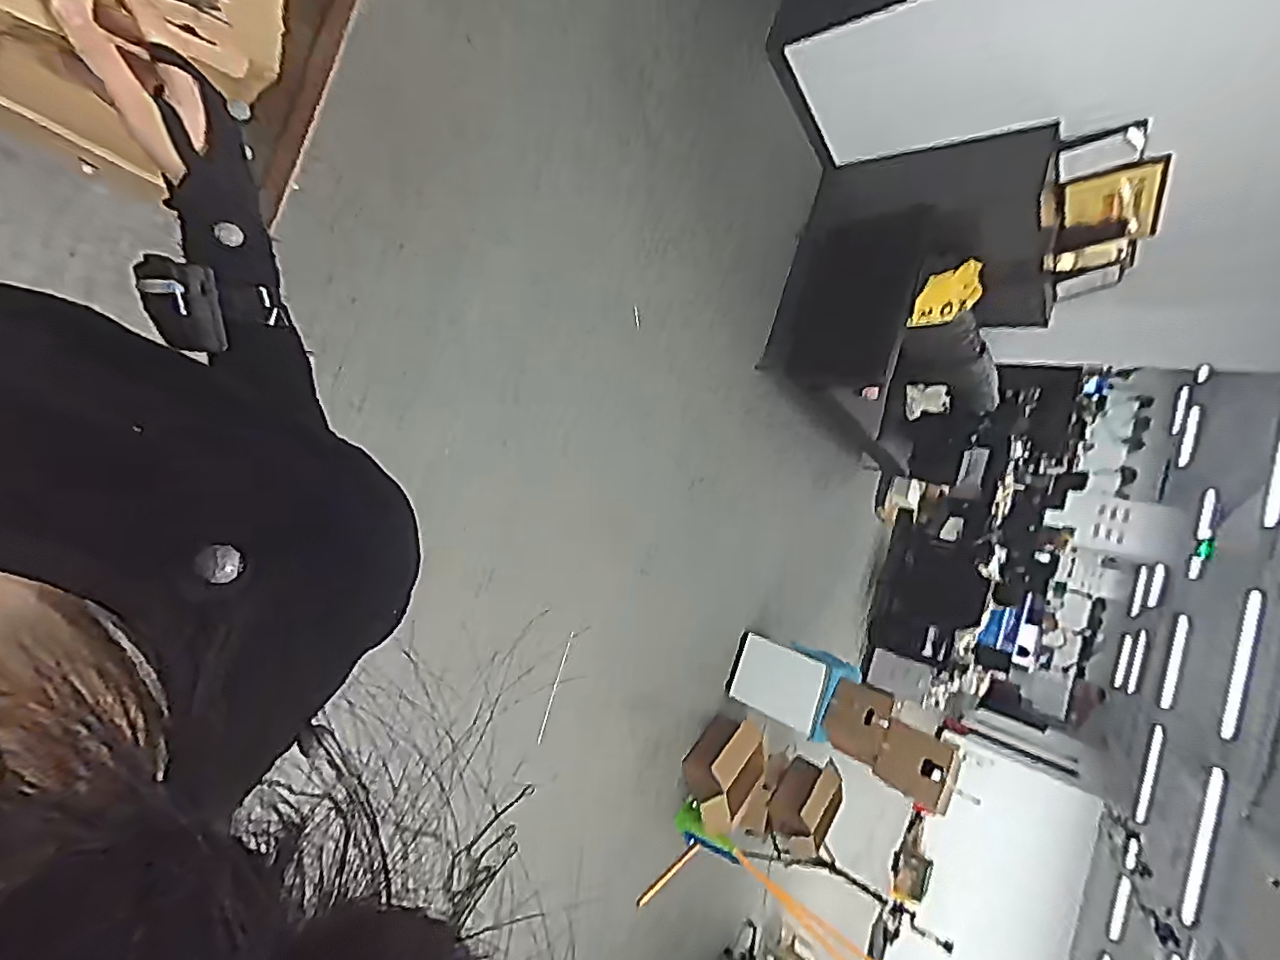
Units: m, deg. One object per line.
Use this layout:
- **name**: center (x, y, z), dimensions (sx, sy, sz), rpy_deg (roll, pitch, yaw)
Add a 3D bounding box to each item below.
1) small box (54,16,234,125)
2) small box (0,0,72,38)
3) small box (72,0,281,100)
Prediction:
- **small box**: center (-0.646, -0.609, 0.713), dimensions (0.168, 0.176, 0.179), rpy_deg (2, 99, -50)
- **small box**: center (-0.412, -0.368, 0.268), dimensions (0.168, 0.176, 0.179), rpy_deg (-6, 121, -55)
- **small box**: center (-0.524, -0.575, 0.609), dimensions (0.168, 0.176, 0.179), rpy_deg (1, 99, -51)
